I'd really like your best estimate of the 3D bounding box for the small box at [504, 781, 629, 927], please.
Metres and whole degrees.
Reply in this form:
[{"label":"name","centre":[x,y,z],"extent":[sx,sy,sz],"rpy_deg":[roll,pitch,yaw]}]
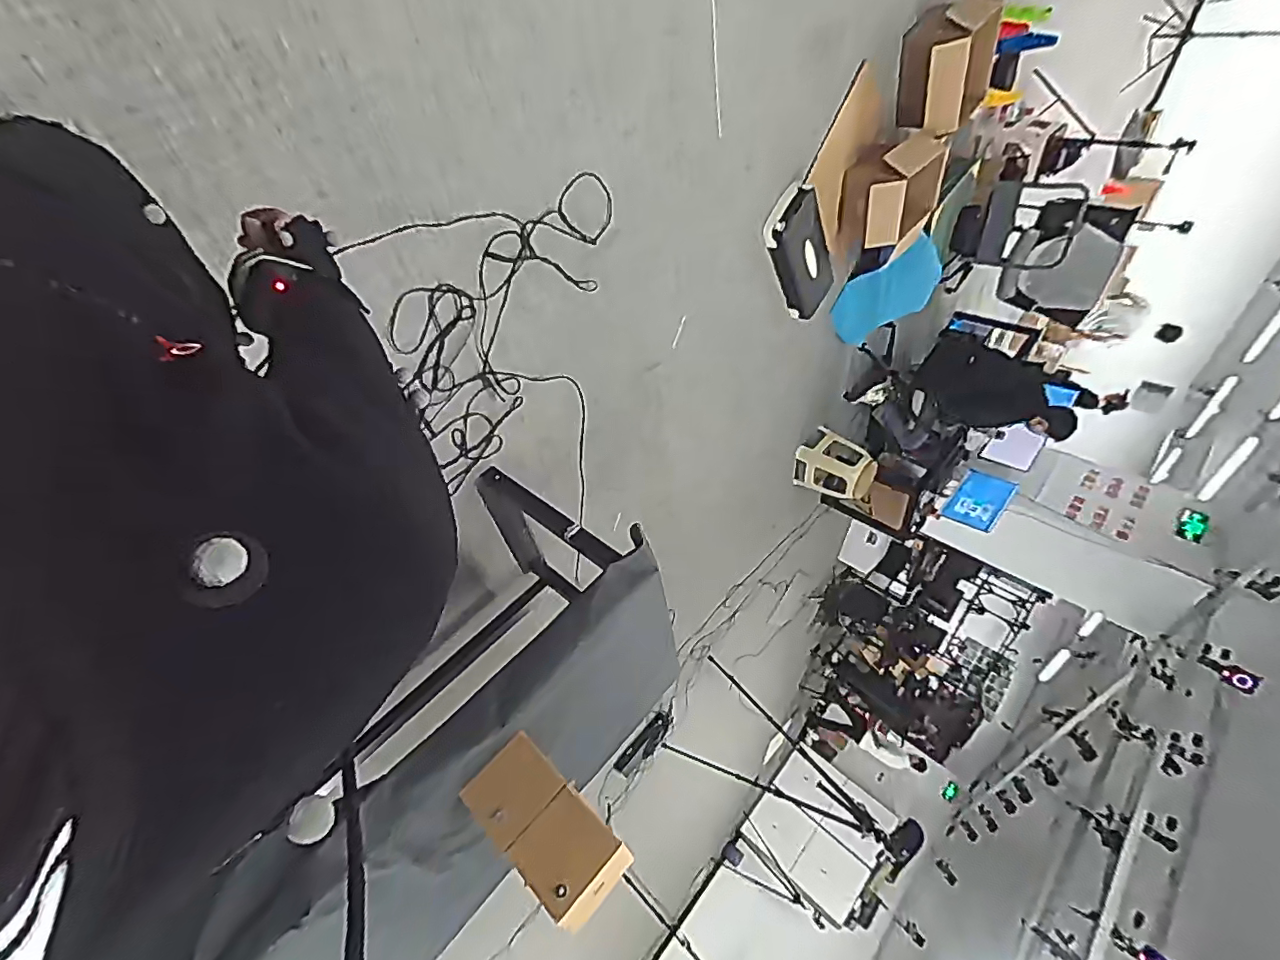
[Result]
[{"label":"small box","centre":[-0.148,0.771,1.125],"extent":[0.179,0.176,0.168],"rpy_deg":[-40,143,-26]}]
